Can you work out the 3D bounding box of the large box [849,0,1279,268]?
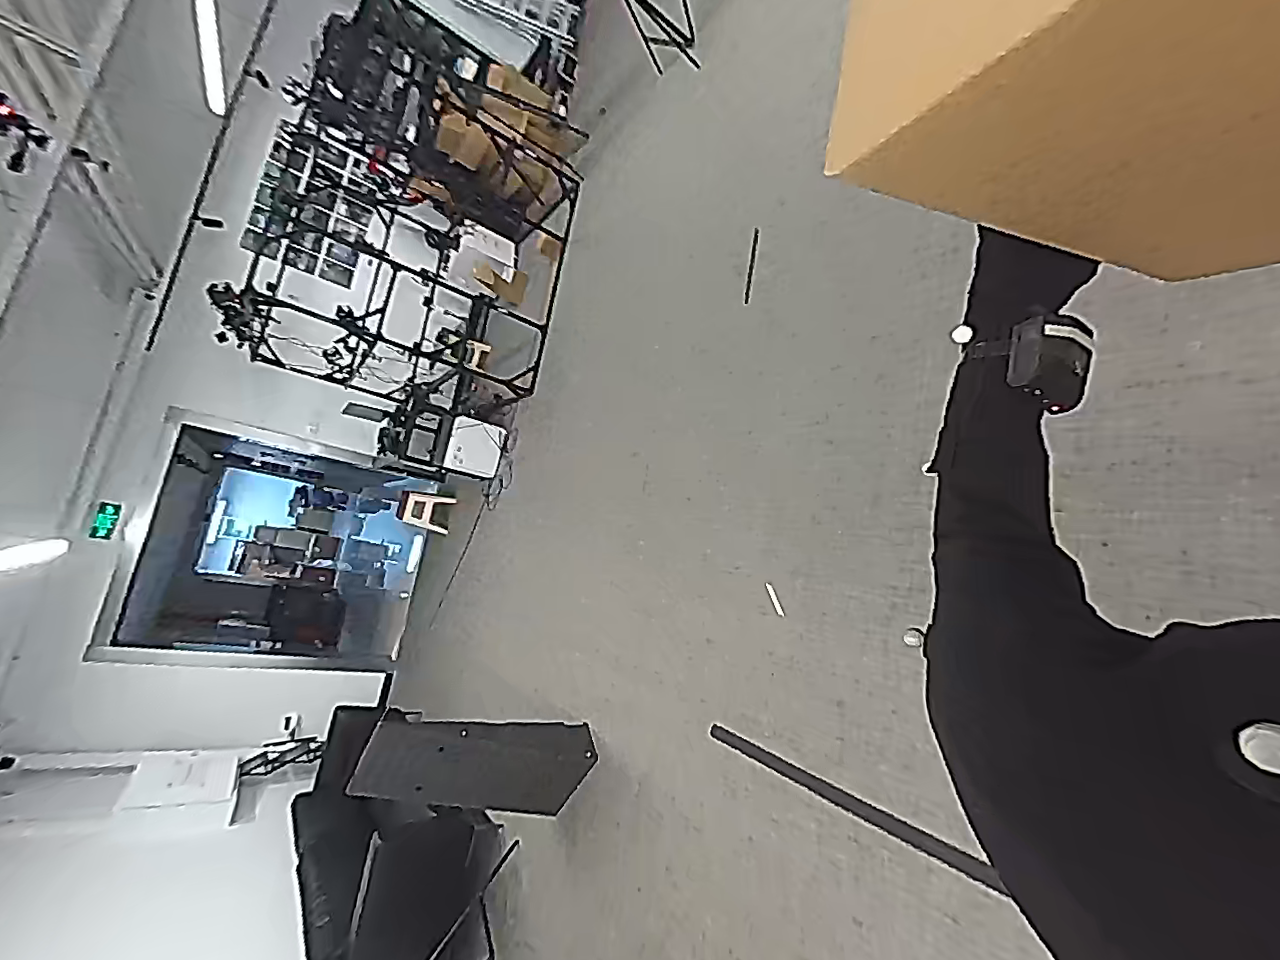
[{"bbox_3d":[0.355,-0.315,0.205,0.408,0.320,0.320,-149,66,-75],"label":"large box"}]
